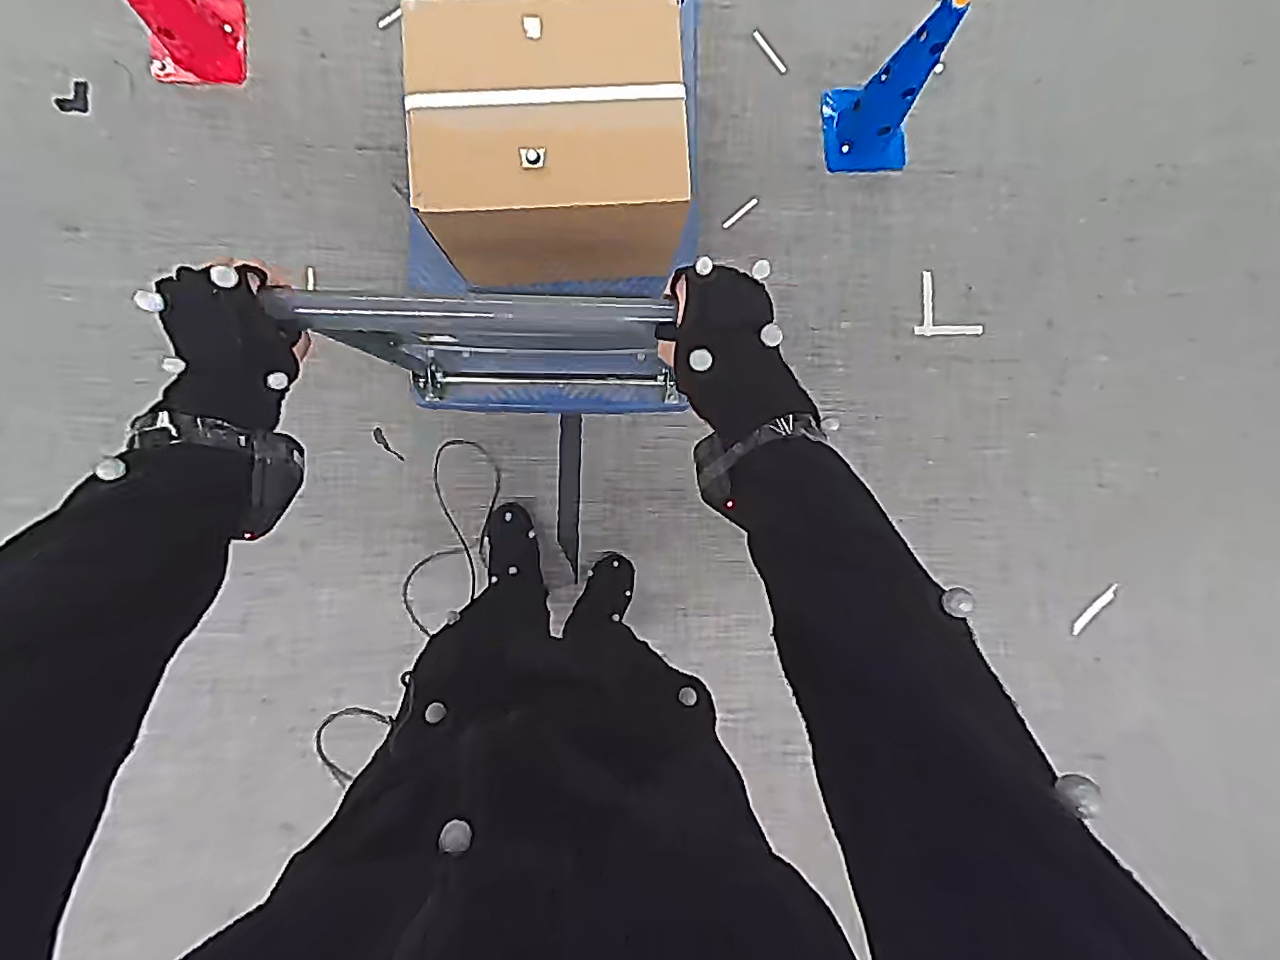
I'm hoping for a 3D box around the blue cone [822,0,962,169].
[{"bbox_3d":[0.552,-0.854,1.152,0.193,0.380,0.192,-3,89,-4],"label":"blue cone"}]
